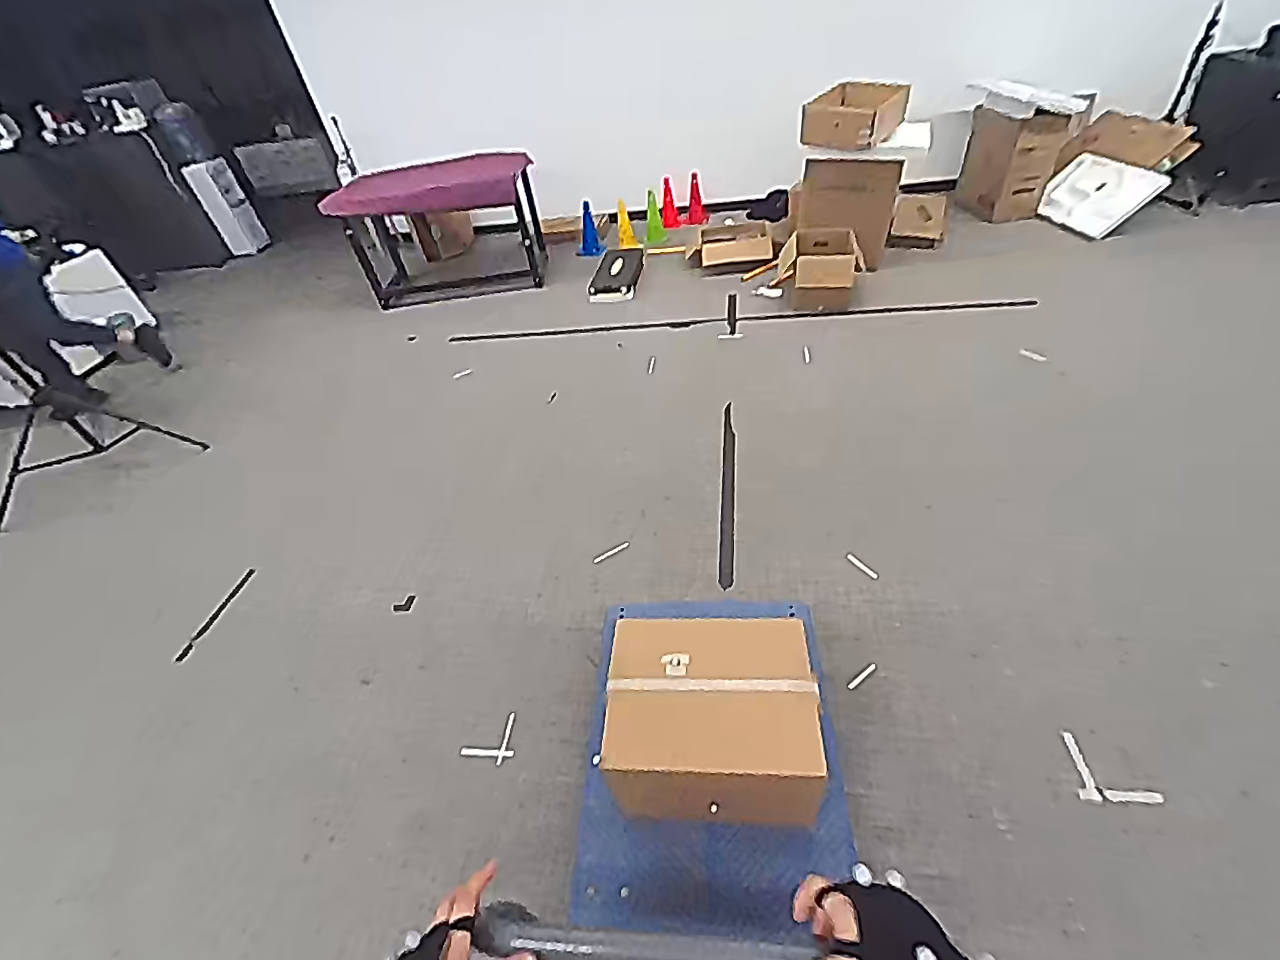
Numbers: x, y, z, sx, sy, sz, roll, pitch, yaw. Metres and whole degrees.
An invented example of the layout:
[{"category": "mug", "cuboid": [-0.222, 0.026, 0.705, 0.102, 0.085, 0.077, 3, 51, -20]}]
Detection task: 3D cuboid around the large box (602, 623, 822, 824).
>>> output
[{"category": "large box", "cuboid": [0.156, 0.536, 1.184, 0.408, 0.320, 0.320, -4, 42, 8]}]
